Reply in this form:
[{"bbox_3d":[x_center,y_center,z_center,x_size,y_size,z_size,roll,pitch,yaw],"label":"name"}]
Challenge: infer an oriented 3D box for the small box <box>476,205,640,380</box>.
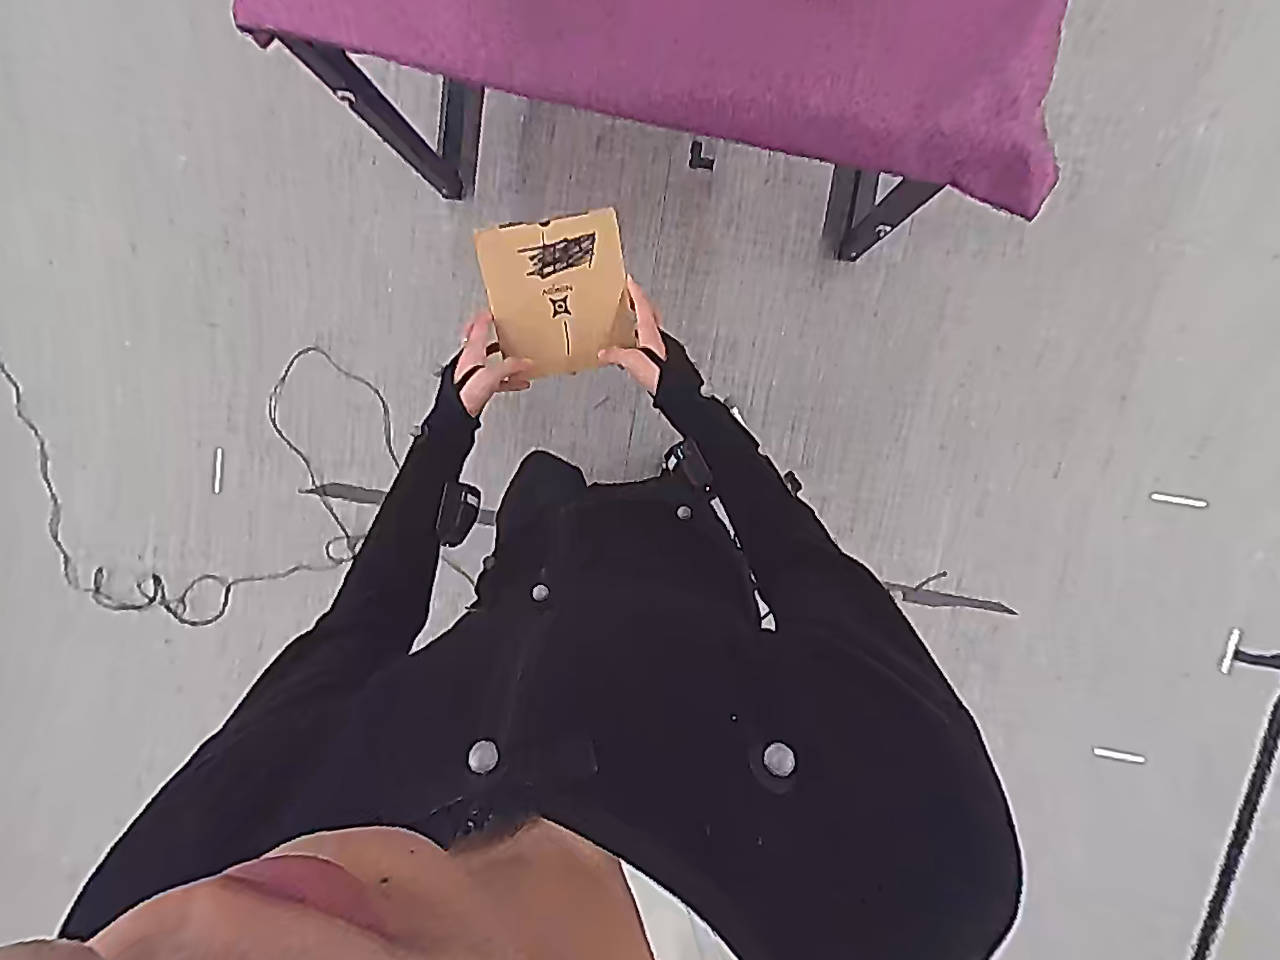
[{"bbox_3d":[-0.100,-0.238,0.703,0.168,0.176,0.179,-10,109,-3],"label":"small box"}]
